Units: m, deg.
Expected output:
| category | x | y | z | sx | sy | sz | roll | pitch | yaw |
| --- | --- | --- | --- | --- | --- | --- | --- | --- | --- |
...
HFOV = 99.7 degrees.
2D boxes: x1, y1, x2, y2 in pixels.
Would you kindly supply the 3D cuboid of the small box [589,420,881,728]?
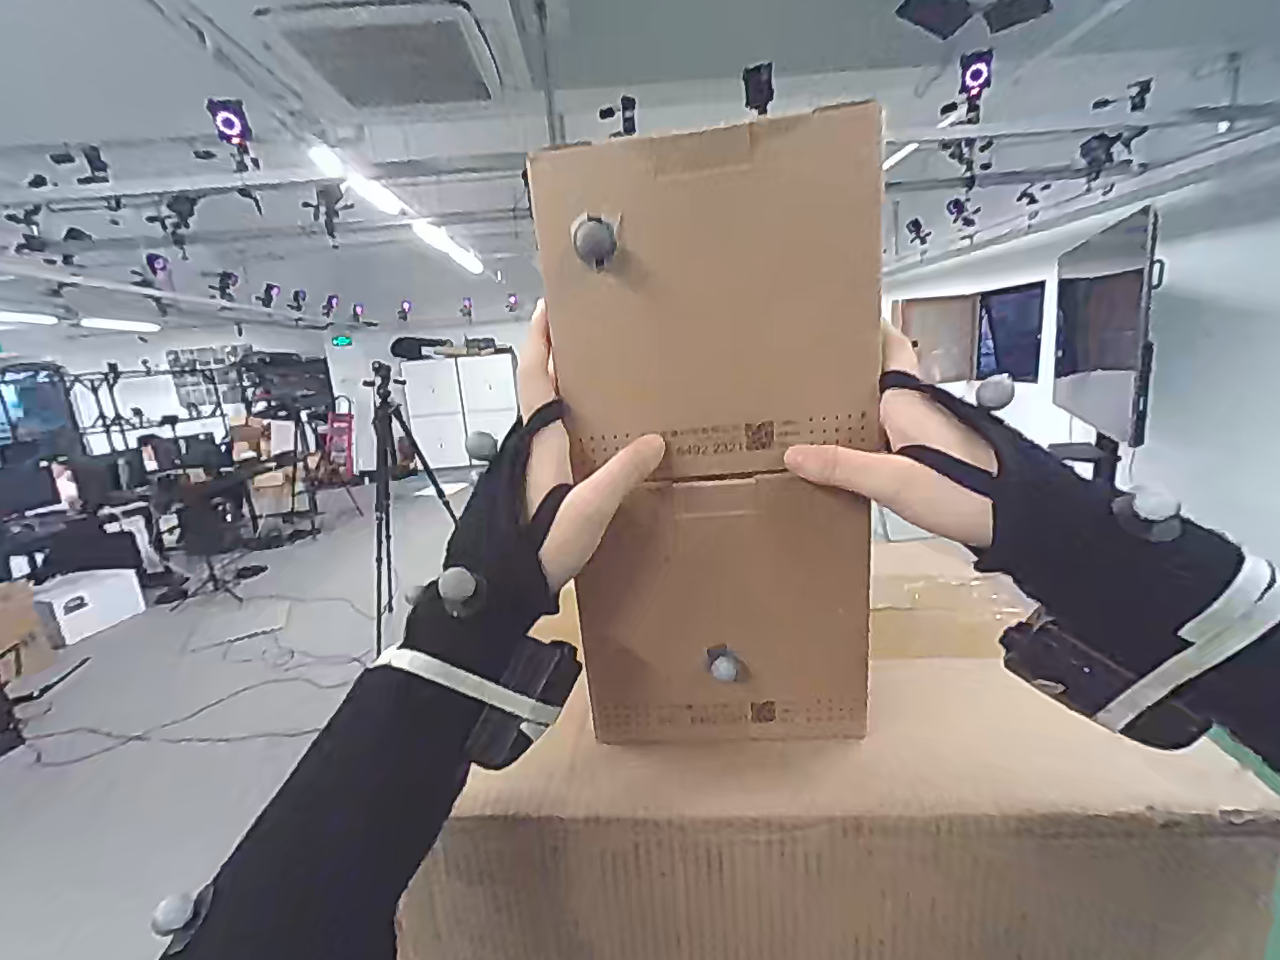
| category | x | y | z | sx | sy | sz | roll | pitch | yaw |
| --- | --- | --- | --- | --- | --- | --- | --- | --- | --- |
| small box | 0.063 | 0.055 | 0.403 | 0.168 | 0.176 | 0.179 | -4 | 15 | 5 |
